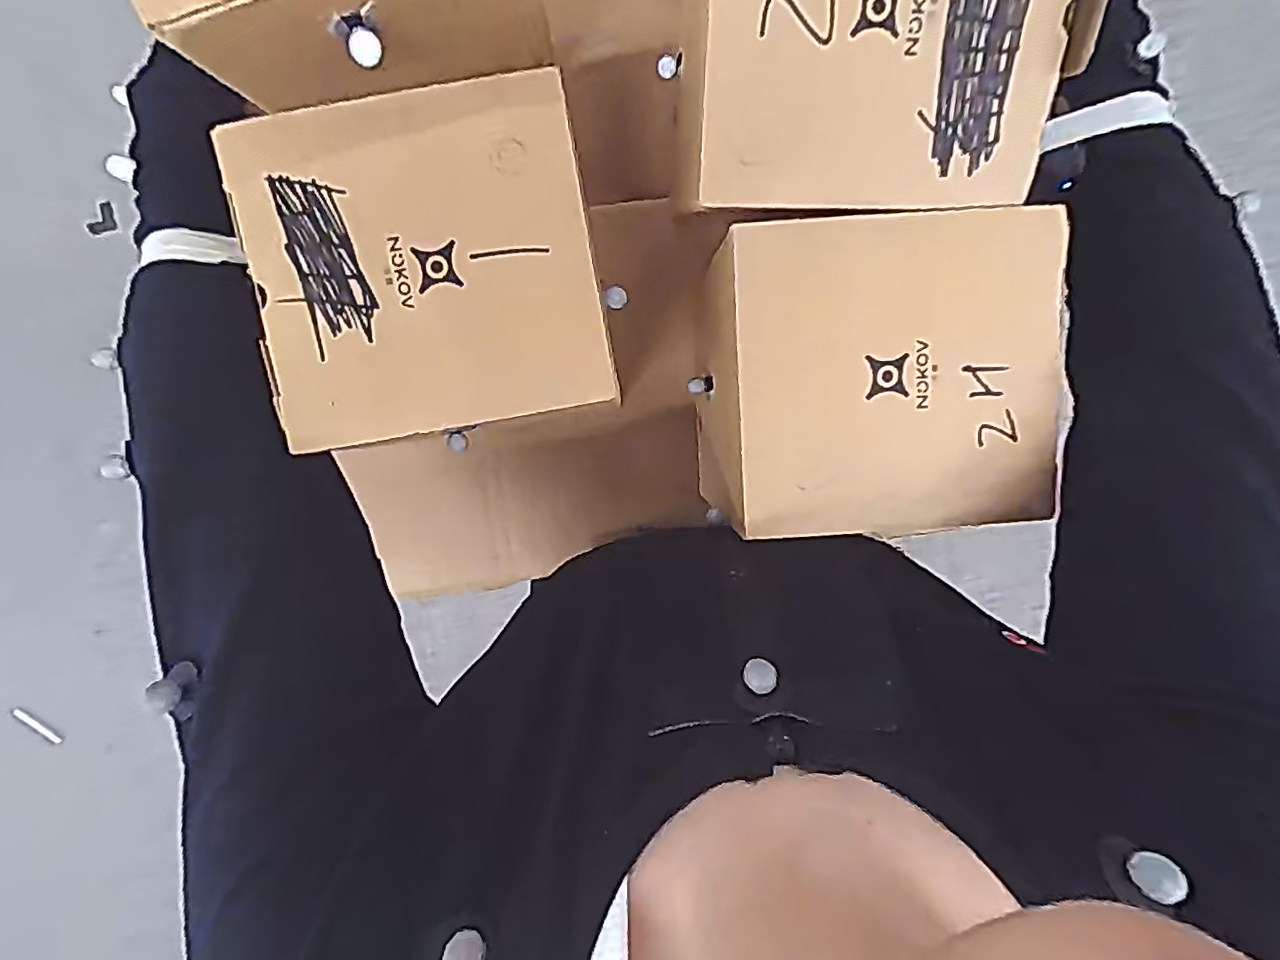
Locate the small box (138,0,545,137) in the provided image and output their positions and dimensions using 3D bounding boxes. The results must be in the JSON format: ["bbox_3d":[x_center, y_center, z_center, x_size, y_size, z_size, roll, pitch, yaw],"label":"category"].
[{"bbox_3d":[-0.159,-0.321,0.290,0.179,0.176,0.168,-16,104,2],"label":"small box"}]
